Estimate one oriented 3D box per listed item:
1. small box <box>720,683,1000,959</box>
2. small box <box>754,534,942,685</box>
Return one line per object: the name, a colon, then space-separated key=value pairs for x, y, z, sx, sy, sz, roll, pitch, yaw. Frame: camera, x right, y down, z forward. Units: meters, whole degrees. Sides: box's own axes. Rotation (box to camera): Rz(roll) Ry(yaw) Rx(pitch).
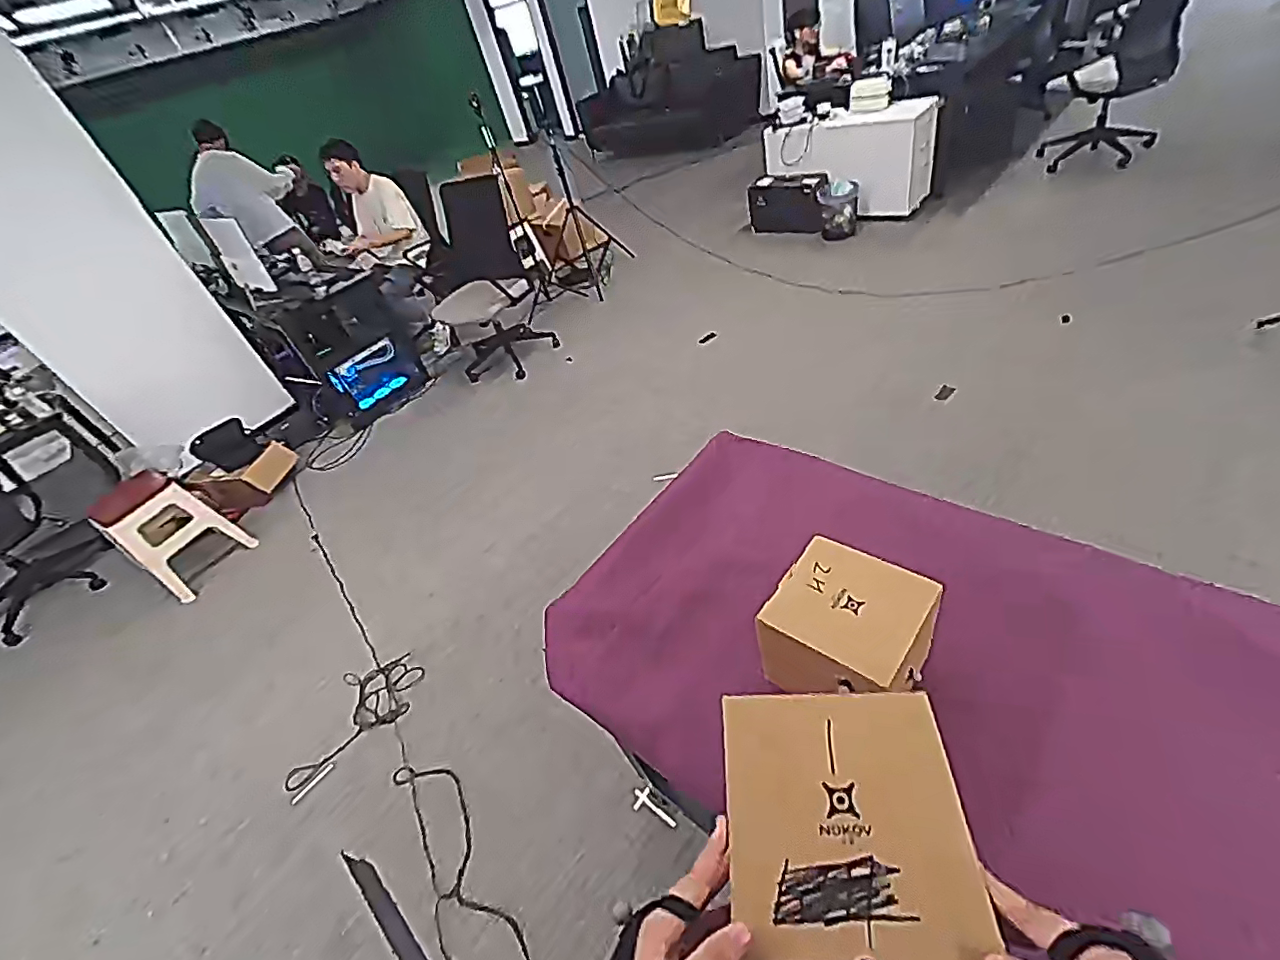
small box: x=0.157 y=0.287 z=0.446 sx=0.168 sy=0.176 sz=0.179 roll=-5 pitch=45 yaw=11
small box: x=0.281 y=0.211 z=0.741 sx=0.179 sy=0.176 sz=0.168 roll=23 pitch=55 yaw=38
